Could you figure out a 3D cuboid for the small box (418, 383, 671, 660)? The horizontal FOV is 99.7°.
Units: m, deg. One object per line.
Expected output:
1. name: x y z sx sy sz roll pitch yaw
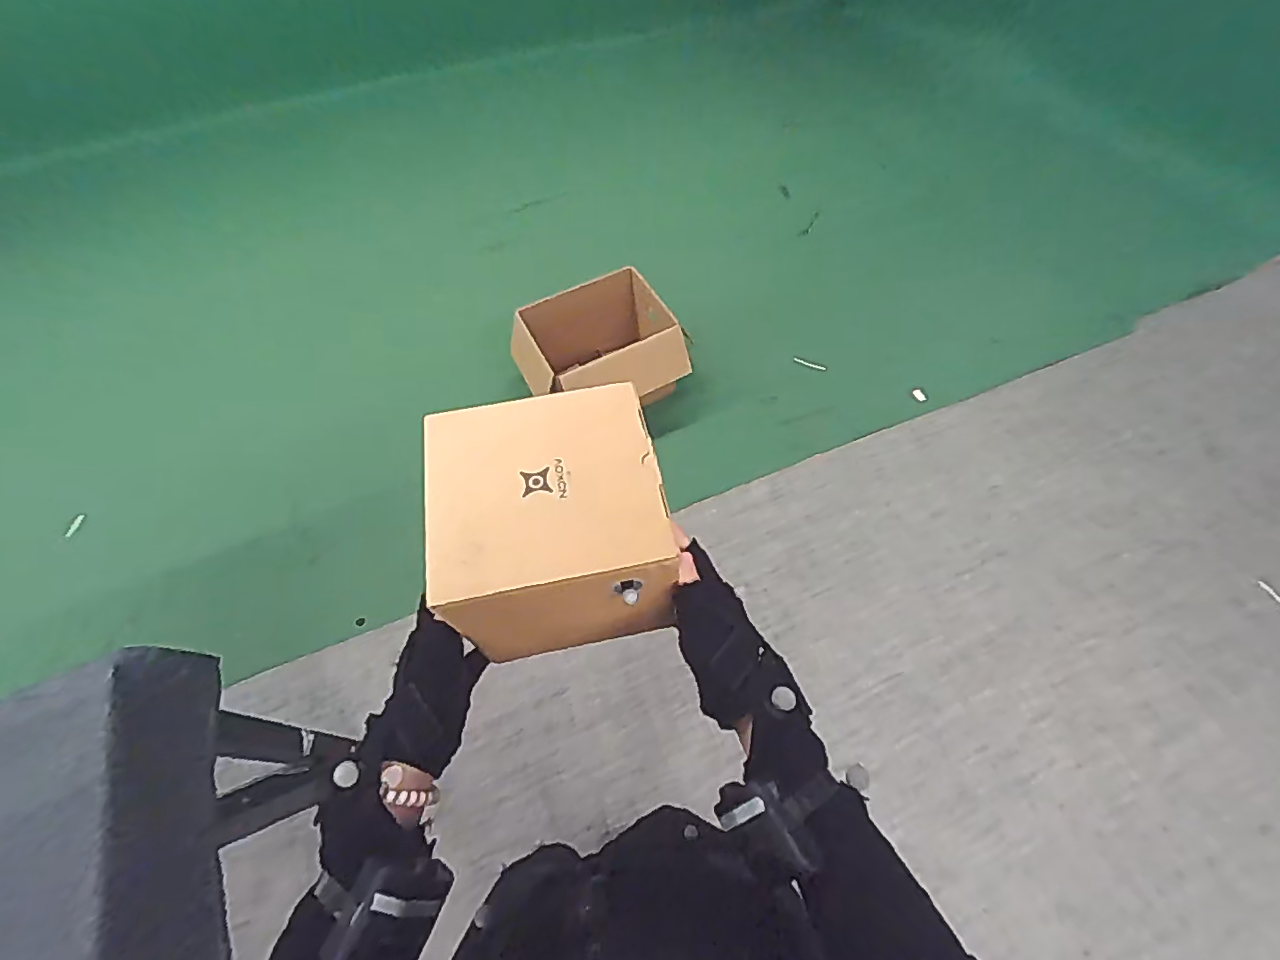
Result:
1. small box: -0.075 0.044 0.472 0.179 0.176 0.168 -11 59 -6
